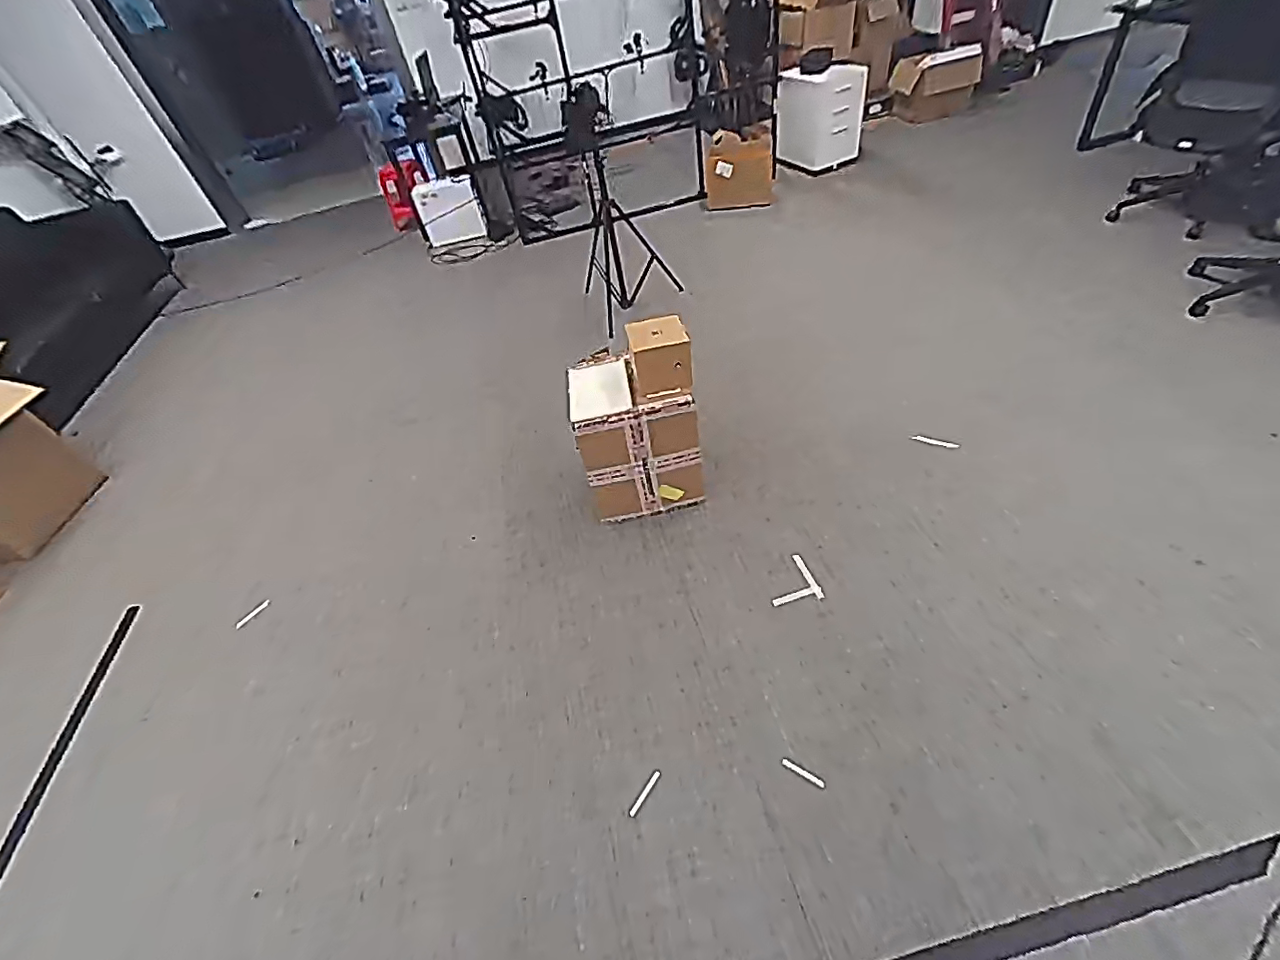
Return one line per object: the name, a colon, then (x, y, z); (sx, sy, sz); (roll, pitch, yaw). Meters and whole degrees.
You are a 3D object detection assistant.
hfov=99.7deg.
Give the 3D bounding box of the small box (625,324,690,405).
small box: (0.058, -0.360, 1.694); (0.179, 0.176, 0.168); (-13, 46, -2)
